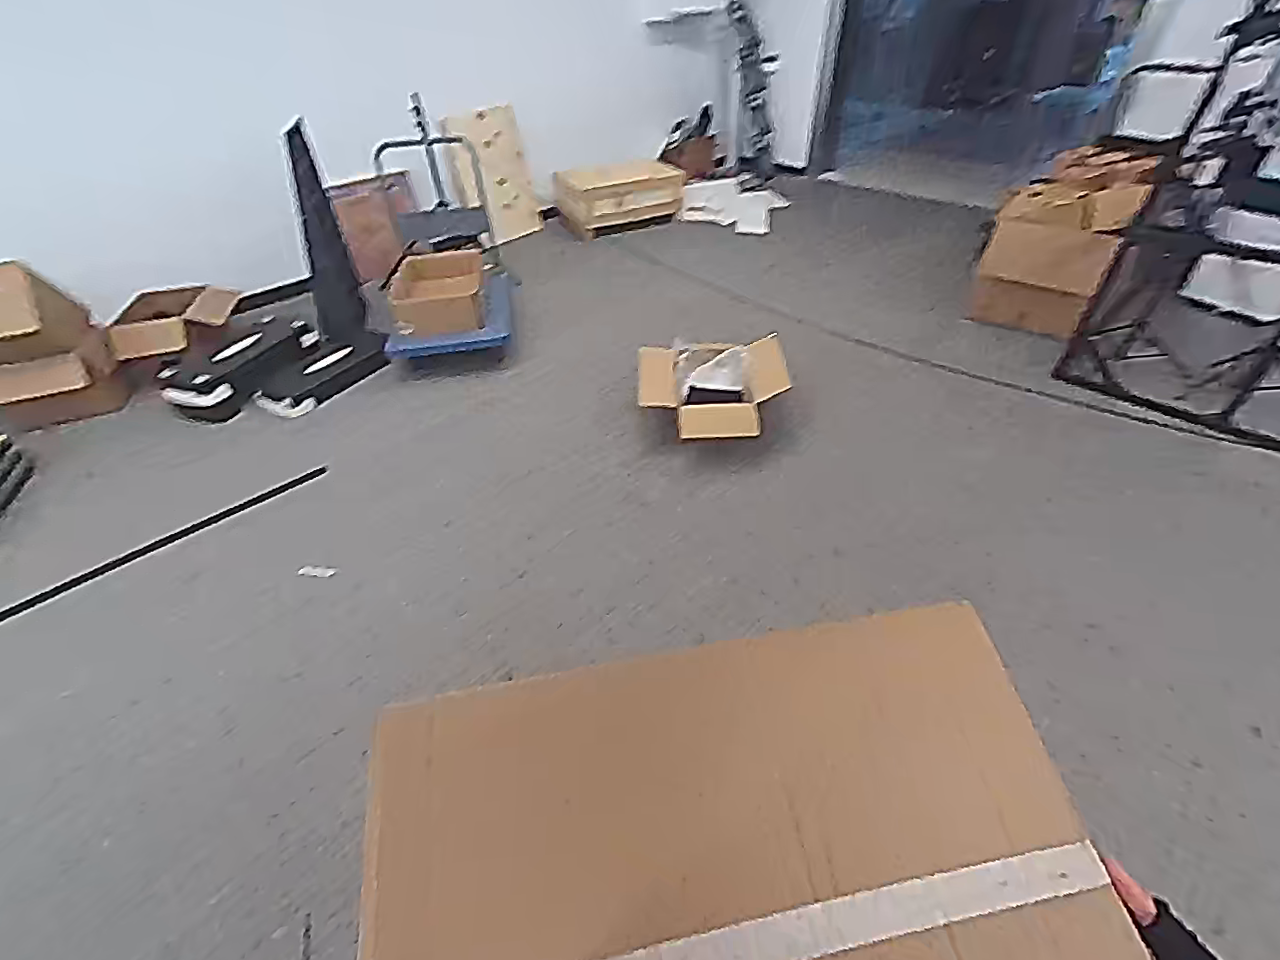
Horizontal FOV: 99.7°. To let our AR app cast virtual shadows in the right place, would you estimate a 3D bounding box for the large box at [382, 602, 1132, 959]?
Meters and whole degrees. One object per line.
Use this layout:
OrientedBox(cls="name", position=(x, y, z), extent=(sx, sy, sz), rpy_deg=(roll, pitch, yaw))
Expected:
OrientedBox(cls="large box", position=(0.058, 0.324, 0.424), extent=(0.408, 0.320, 0.320), rpy_deg=(-9, 62, -6))
